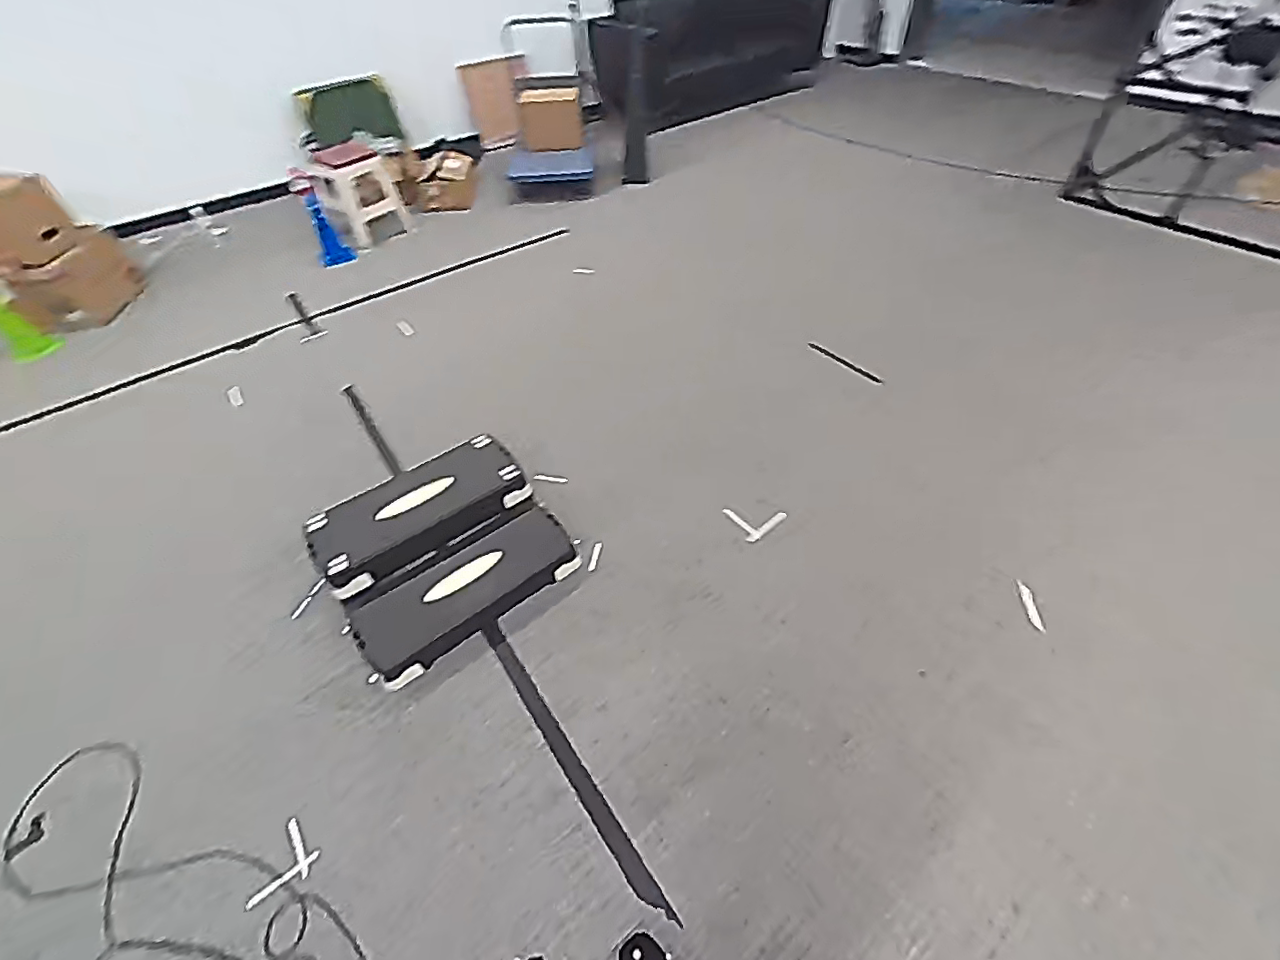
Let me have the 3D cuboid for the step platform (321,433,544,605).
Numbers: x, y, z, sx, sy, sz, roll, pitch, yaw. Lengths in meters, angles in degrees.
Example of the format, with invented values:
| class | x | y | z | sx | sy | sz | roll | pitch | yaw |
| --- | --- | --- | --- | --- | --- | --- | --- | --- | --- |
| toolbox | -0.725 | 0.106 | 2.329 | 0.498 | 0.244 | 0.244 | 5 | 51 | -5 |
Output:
| class | x | y | z | sx | sy | sz | roll | pitch | yaw |
| --- | --- | --- | --- | --- | --- | --- | --- | --- | --- |
| step platform | -0.675 | 0.107 | 1.806 | 0.684 | 0.204 | 0.286 | -31 | 54 | -24 |
